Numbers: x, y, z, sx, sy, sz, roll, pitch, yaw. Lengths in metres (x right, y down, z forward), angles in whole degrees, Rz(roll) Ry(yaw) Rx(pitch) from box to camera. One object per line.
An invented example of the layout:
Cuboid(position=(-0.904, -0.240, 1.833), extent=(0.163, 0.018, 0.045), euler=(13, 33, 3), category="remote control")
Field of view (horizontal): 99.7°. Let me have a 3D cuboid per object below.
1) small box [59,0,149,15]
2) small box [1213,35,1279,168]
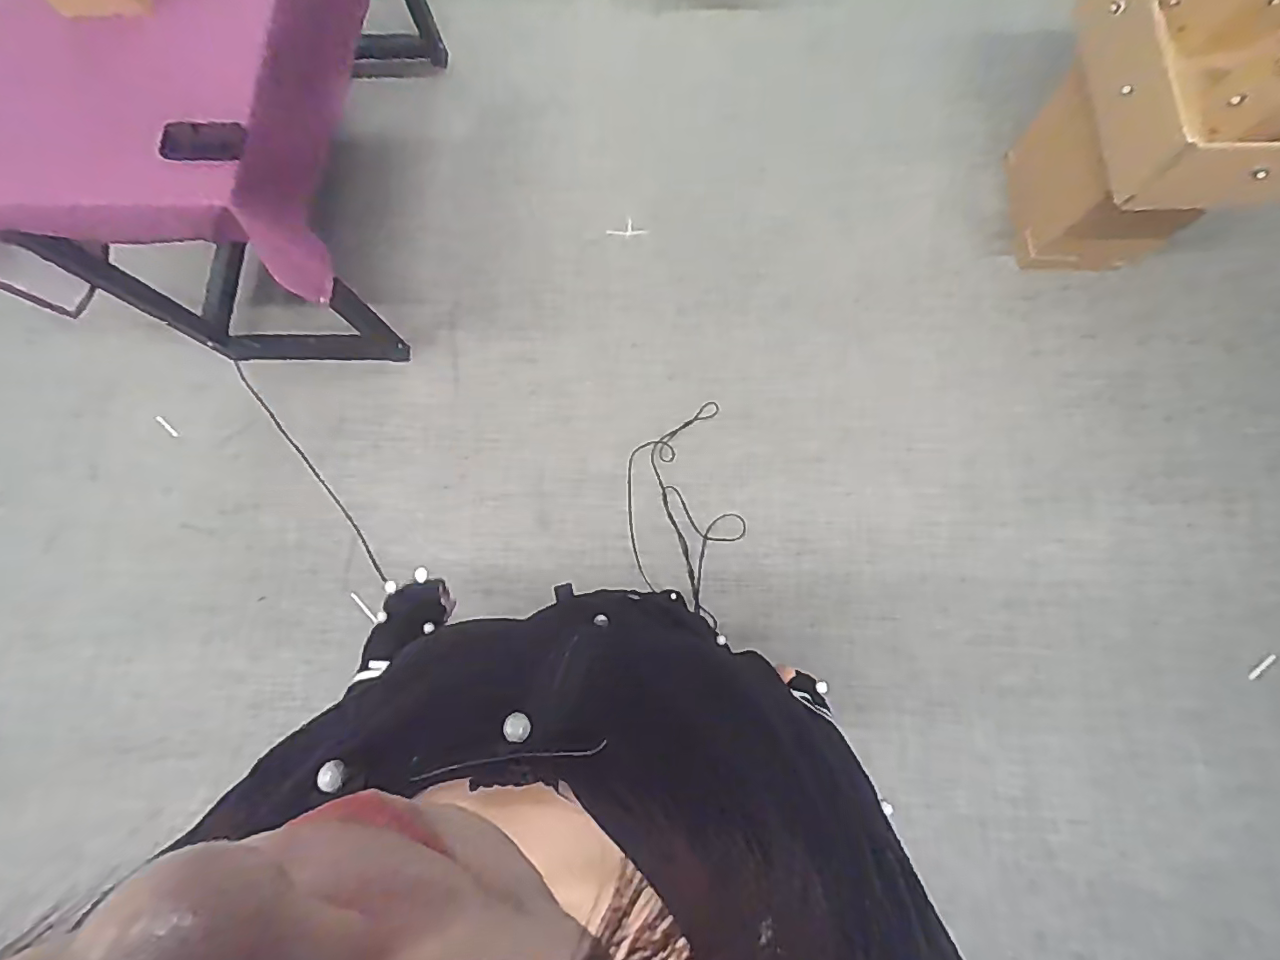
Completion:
Cuboid(position=(-1.052, -1.023, 1.015), extent=(0.179, 0.176, 0.168), euler=(1, 77, 3), category="small box")
Cuboid(position=(1.347, -0.779, 1.118), extent=(0.179, 0.176, 0.168), euler=(7, 79, 5), category="small box")
